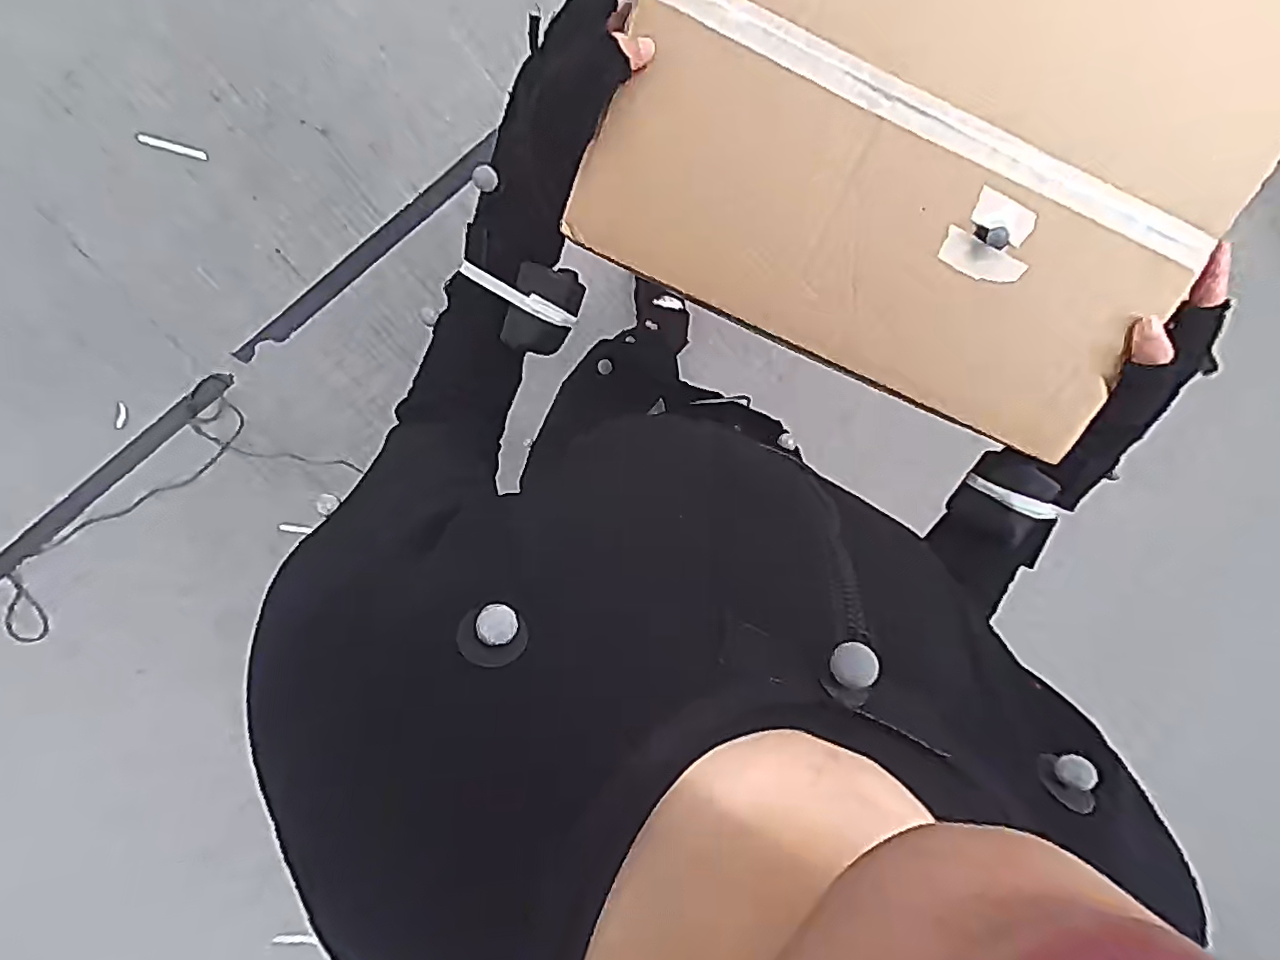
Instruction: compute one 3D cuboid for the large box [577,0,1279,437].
[{"bbox_3d":[0.198,-0.286,0.499,0.408,0.320,0.320,24,109,-6],"label":"large box"}]
